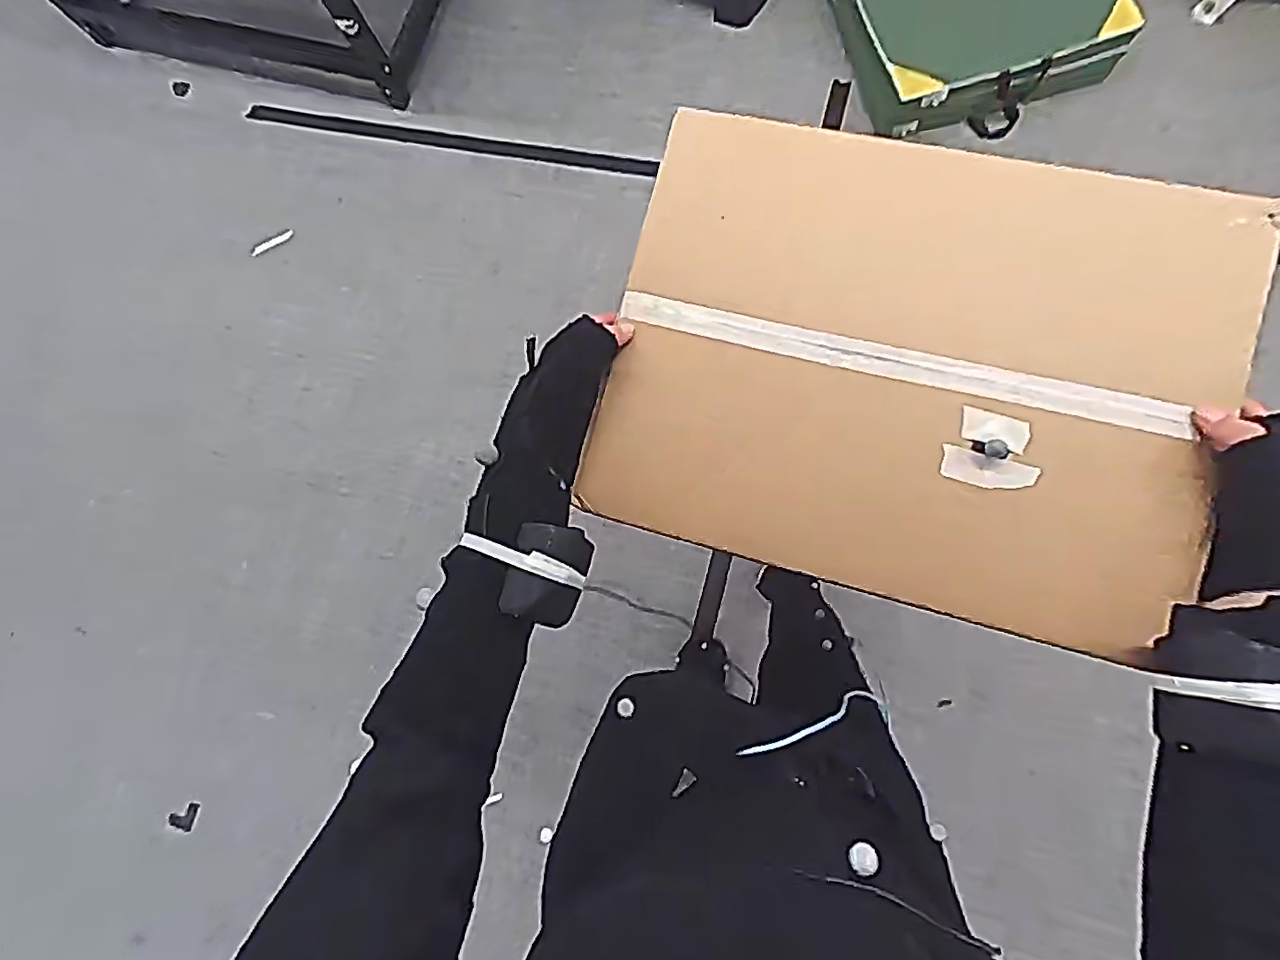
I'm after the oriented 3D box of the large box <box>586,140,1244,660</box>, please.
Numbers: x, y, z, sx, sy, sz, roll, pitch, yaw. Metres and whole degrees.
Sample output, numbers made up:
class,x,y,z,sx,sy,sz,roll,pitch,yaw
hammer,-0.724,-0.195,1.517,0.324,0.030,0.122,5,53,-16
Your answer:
class,x,y,z,sx,sy,sz,roll,pitch,yaw
large box,0.201,-0.063,0.535,0.408,0.320,0.320,15,89,8
